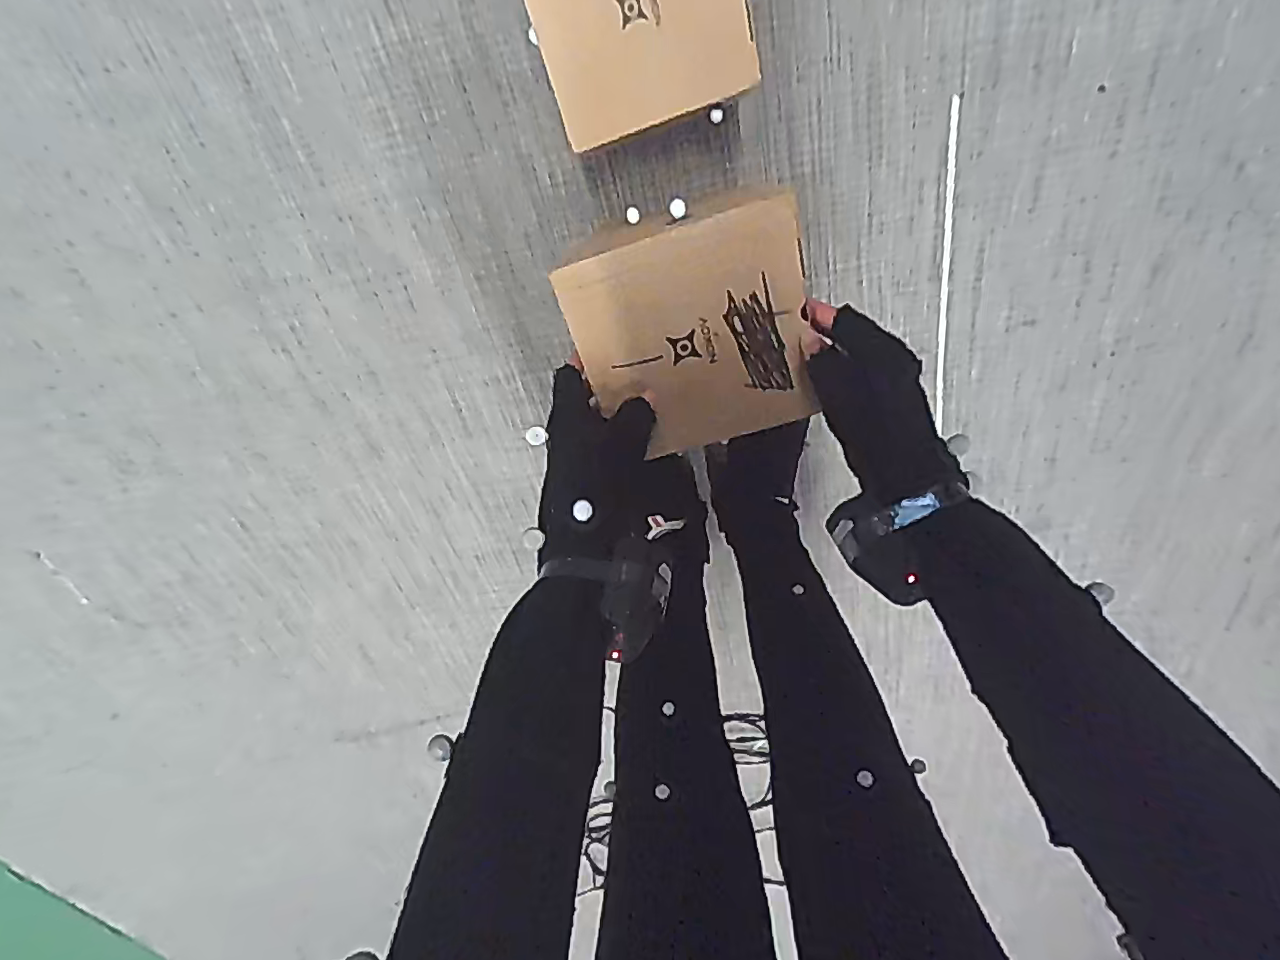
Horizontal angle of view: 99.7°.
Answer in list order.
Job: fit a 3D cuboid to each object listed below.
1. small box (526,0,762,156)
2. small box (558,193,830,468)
[{"bbox_3d":[0.003,-0.423,0.511,0.179,0.176,0.168,-15,119,10],"label":"small box"},{"bbox_3d":[0.047,-0.137,0.471,0.179,0.176,0.168,-14,118,10],"label":"small box"}]
